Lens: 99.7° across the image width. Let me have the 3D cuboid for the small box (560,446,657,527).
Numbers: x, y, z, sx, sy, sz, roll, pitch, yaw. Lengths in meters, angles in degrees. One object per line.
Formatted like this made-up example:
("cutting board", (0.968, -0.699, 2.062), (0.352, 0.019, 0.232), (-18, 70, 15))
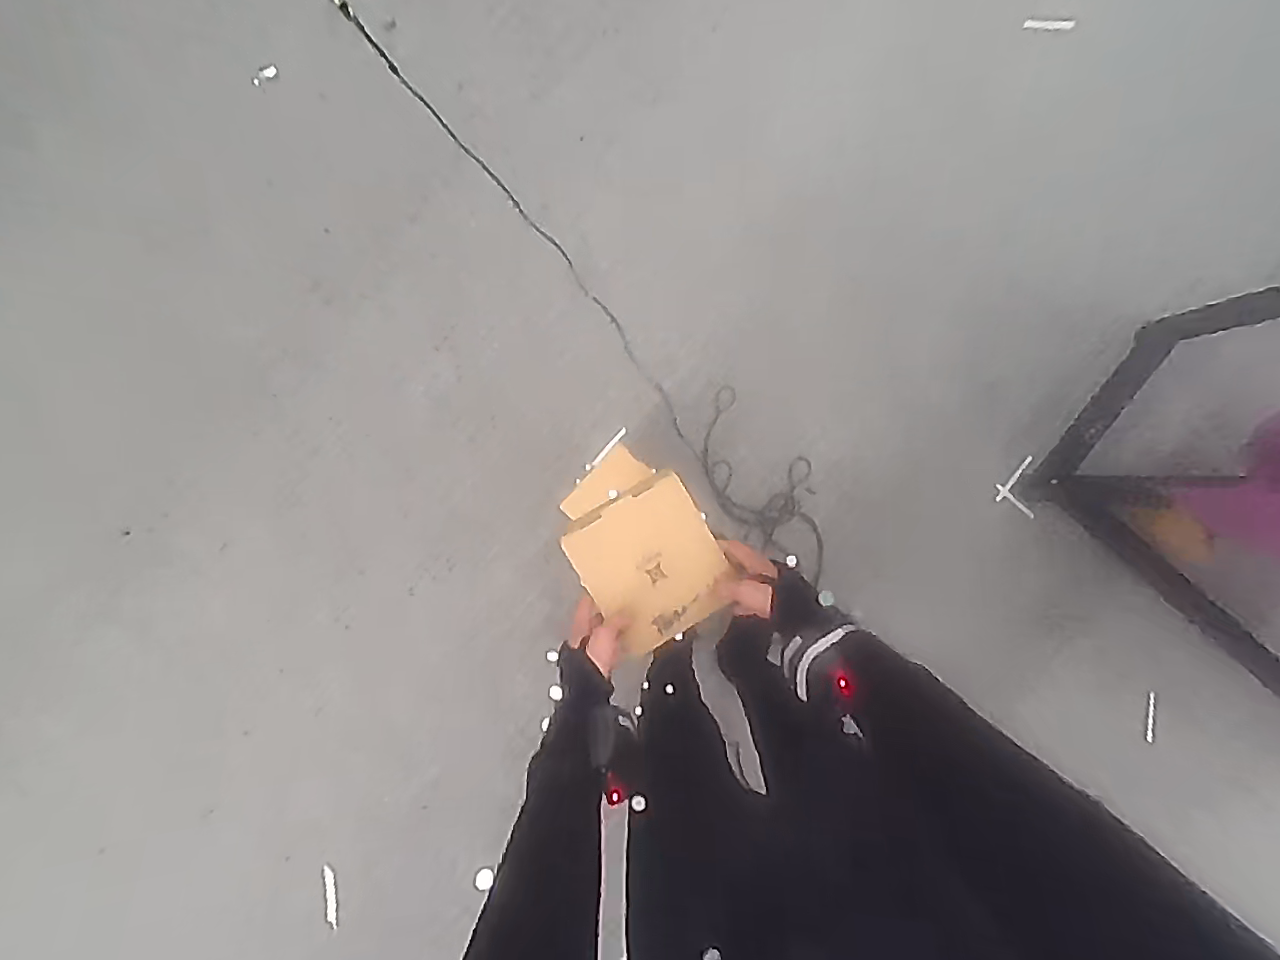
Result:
("small box", (-0.042, 0.049, 1.137), (0.168, 0.176, 0.179), (43, 89, -2))

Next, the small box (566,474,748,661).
("small box", (0.016, 0.106, 0.730), (0.168, 0.176, 0.179), (-30, 92, -2))
